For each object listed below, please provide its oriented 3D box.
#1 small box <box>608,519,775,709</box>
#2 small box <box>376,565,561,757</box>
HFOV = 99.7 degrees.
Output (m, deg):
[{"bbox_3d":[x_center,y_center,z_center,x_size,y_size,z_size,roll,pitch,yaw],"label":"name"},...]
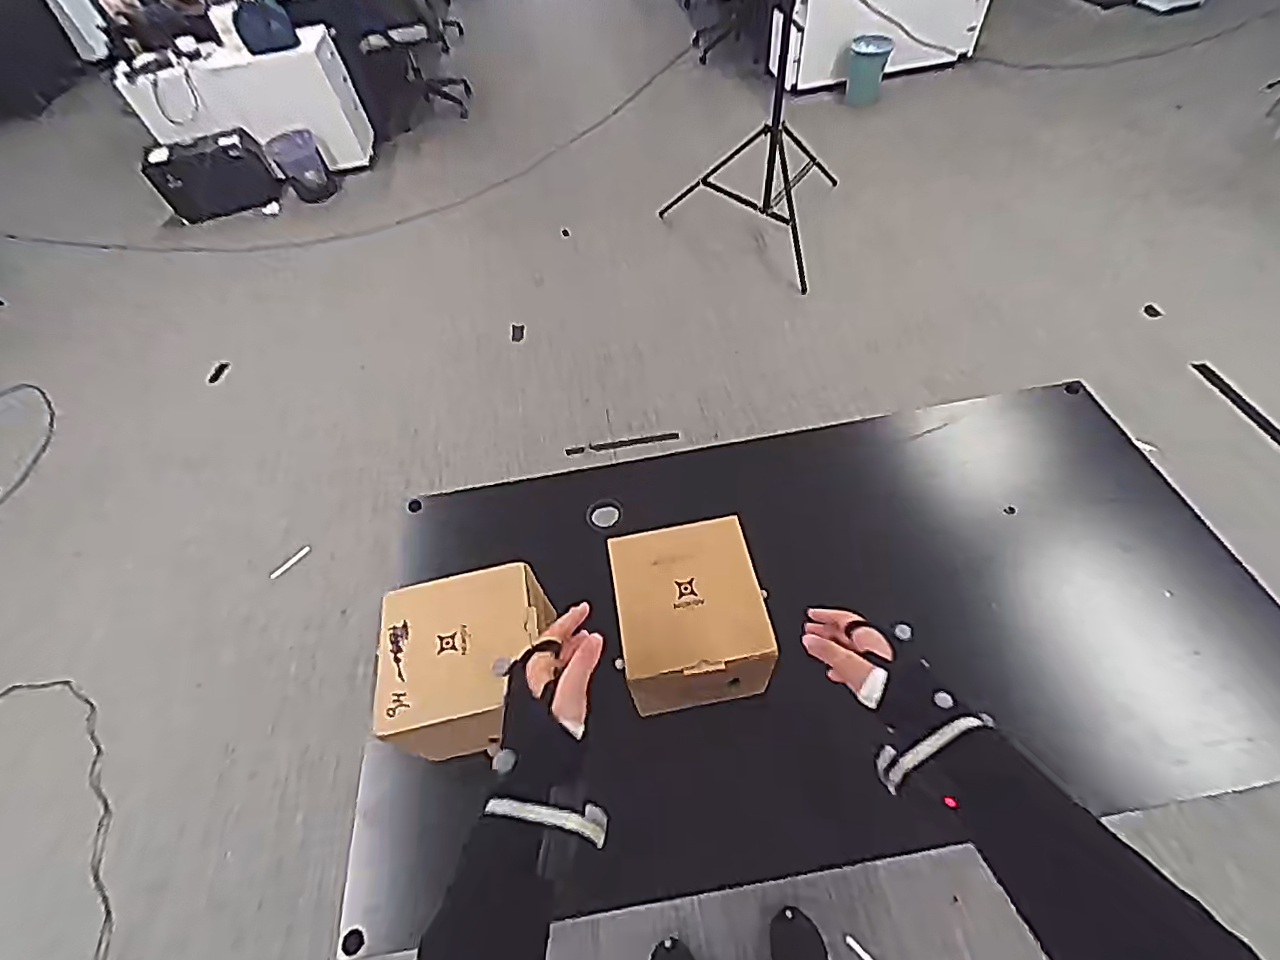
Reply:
[{"bbox_3d":[0.059,0.177,0.685,0.168,0.176,0.179,-10,54,-3],"label":"small box"},{"bbox_3d":[-0.198,0.229,0.671,0.179,0.176,0.168,-11,54,-4],"label":"small box"}]
